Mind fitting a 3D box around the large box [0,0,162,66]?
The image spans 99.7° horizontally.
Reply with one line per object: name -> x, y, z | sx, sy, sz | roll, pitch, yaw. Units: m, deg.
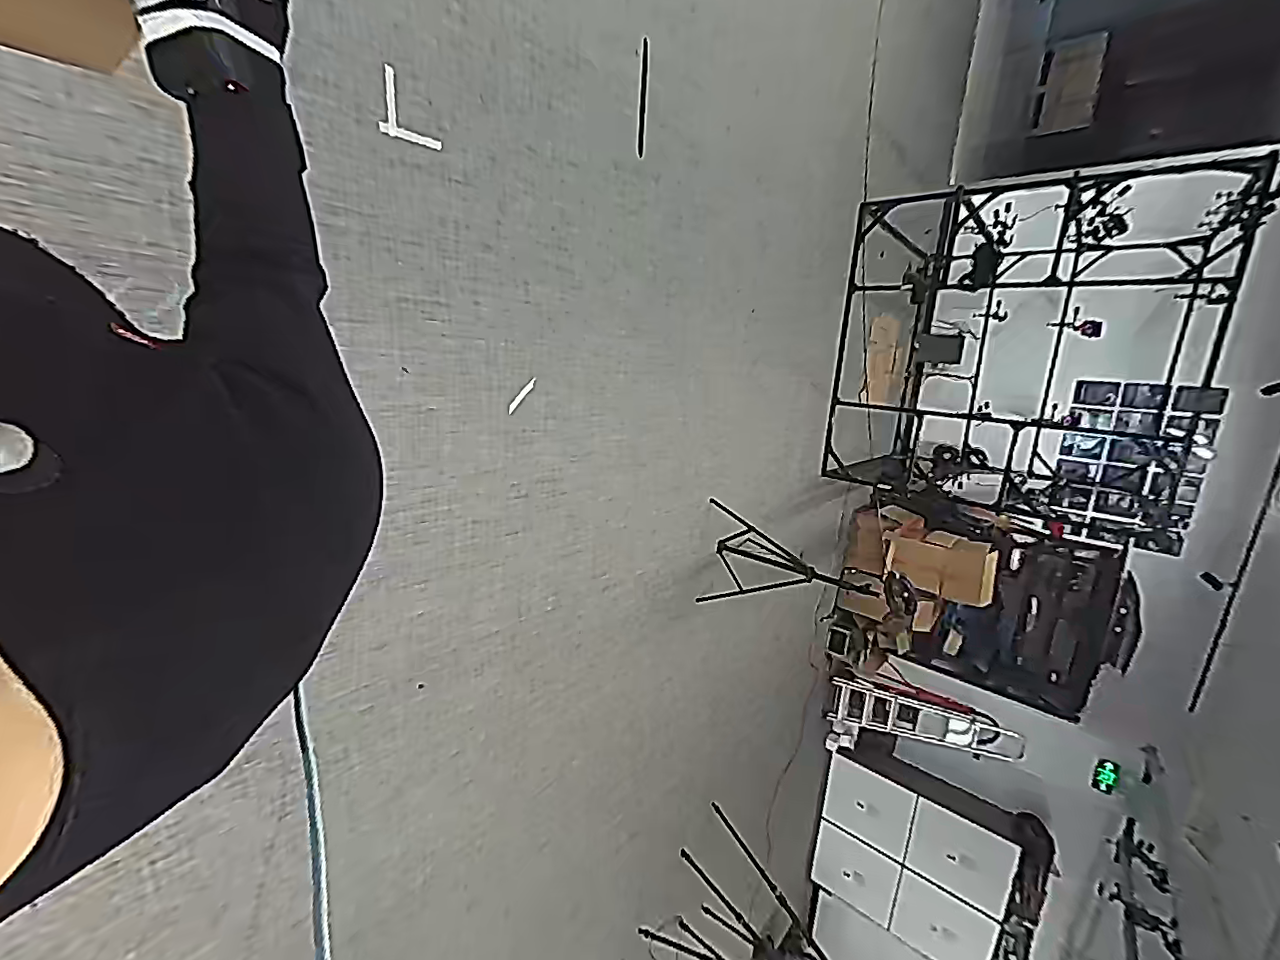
large box -> -0.543, -0.488, 0.269 | 0.408, 0.320, 0.320 | -15, 117, -49
